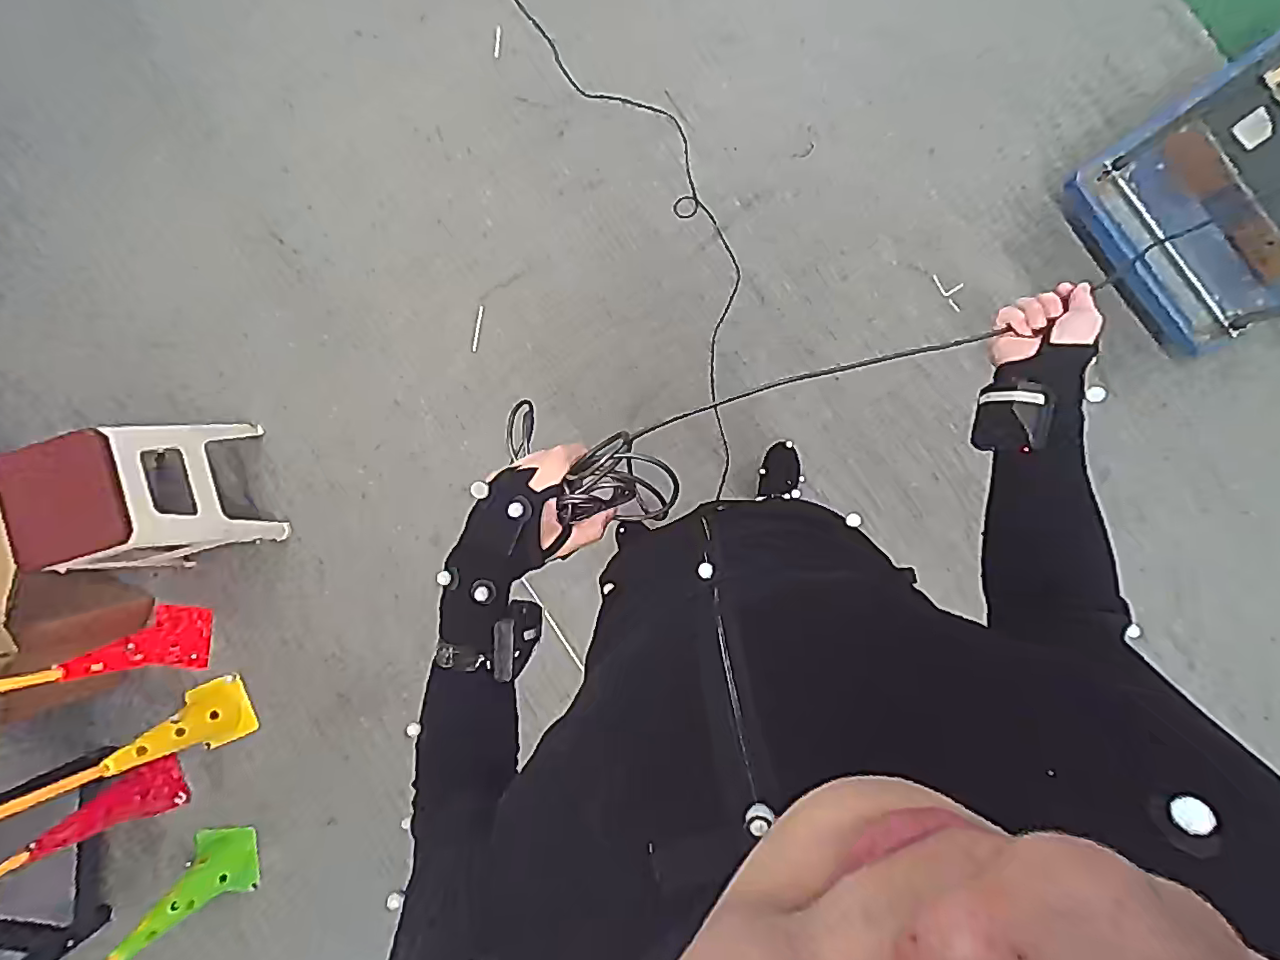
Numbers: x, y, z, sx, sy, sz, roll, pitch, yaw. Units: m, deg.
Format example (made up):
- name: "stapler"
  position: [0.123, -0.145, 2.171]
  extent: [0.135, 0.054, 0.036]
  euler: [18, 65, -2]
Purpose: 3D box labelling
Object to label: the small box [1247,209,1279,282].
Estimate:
- name: "small box"
  position: [1.600, -0.592, 1.247]
  extent: [0.179, 0.176, 0.168]
  euler: [-33, 88, 5]
